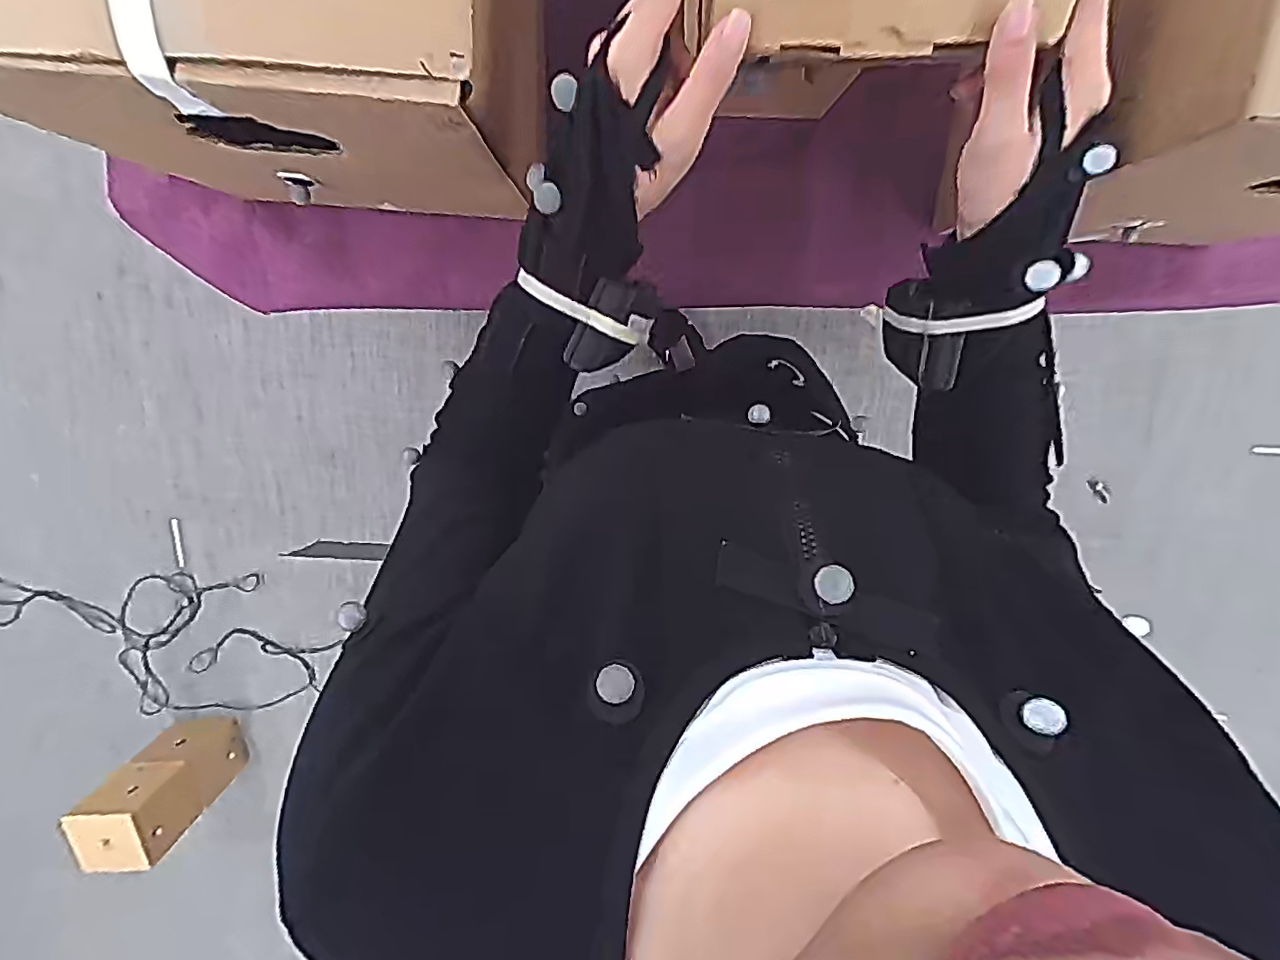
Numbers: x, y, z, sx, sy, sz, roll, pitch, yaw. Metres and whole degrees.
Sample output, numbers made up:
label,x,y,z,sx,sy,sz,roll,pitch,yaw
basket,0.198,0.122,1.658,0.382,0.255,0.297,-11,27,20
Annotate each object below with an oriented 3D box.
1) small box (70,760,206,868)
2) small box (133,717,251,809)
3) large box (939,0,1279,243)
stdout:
label,x,y,z,sx,sy,sz,roll,pitch,yaw
small box,-1.256,0.836,1.368,0.168,0.176,0.179,-2,107,0
small box,-1.255,0.796,1.525,0.179,0.176,0.168,-4,106,0
large box,0.464,-0.408,0.381,0.320,0.320,0.408,2,104,-1
